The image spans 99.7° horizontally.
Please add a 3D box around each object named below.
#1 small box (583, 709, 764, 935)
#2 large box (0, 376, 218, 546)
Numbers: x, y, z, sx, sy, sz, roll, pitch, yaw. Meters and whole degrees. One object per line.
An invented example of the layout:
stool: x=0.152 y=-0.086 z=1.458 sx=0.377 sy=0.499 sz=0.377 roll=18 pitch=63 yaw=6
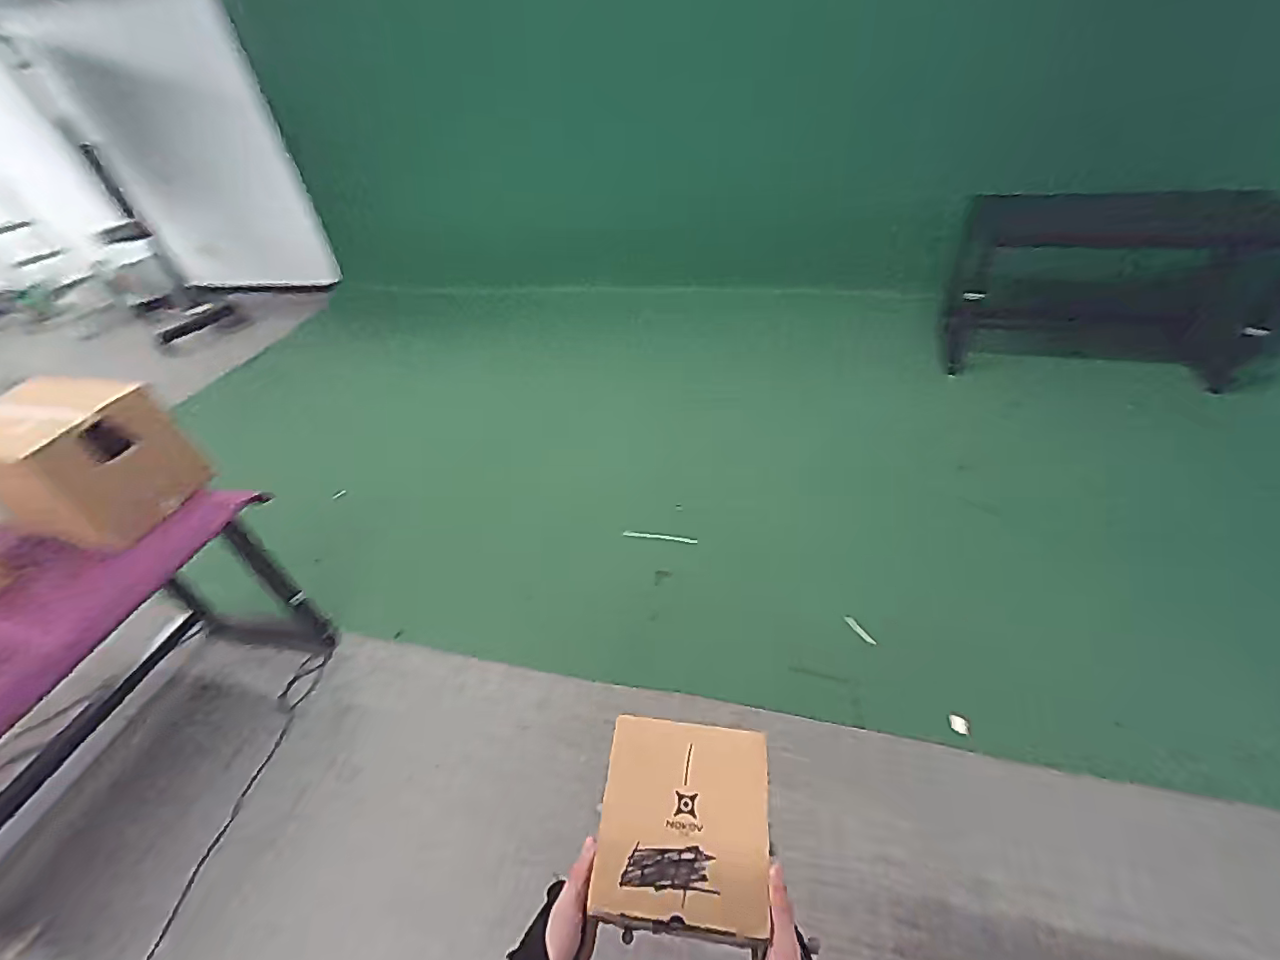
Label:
small box: x=0.040 y=0.374 z=0.590 sx=0.168 sy=0.176 sz=0.179 roll=4 pitch=48 yaw=5
large box: x=-1.470 y=-0.055 z=1.426 sx=0.408 sy=0.320 sz=0.320 roll=6 pitch=45 yaw=14
